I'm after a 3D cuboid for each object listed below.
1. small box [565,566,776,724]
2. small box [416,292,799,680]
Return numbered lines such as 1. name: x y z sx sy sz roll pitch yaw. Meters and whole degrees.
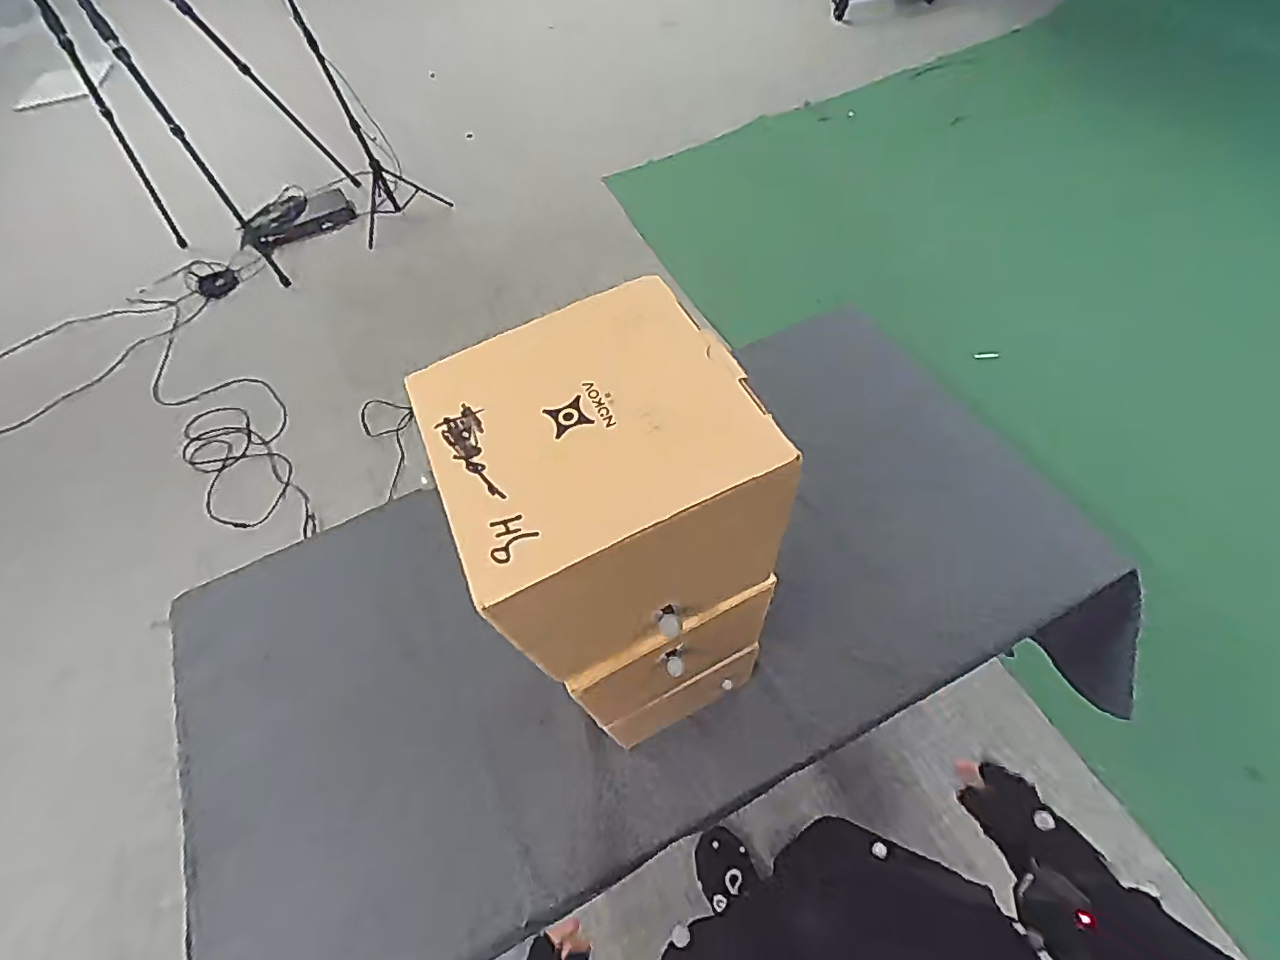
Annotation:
1. small box: 0.001 0.102 0.507 0.179 0.176 0.168 -26 58 -9
2. small box: -0.021 0.011 0.372 0.179 0.176 0.168 -24 58 -9
